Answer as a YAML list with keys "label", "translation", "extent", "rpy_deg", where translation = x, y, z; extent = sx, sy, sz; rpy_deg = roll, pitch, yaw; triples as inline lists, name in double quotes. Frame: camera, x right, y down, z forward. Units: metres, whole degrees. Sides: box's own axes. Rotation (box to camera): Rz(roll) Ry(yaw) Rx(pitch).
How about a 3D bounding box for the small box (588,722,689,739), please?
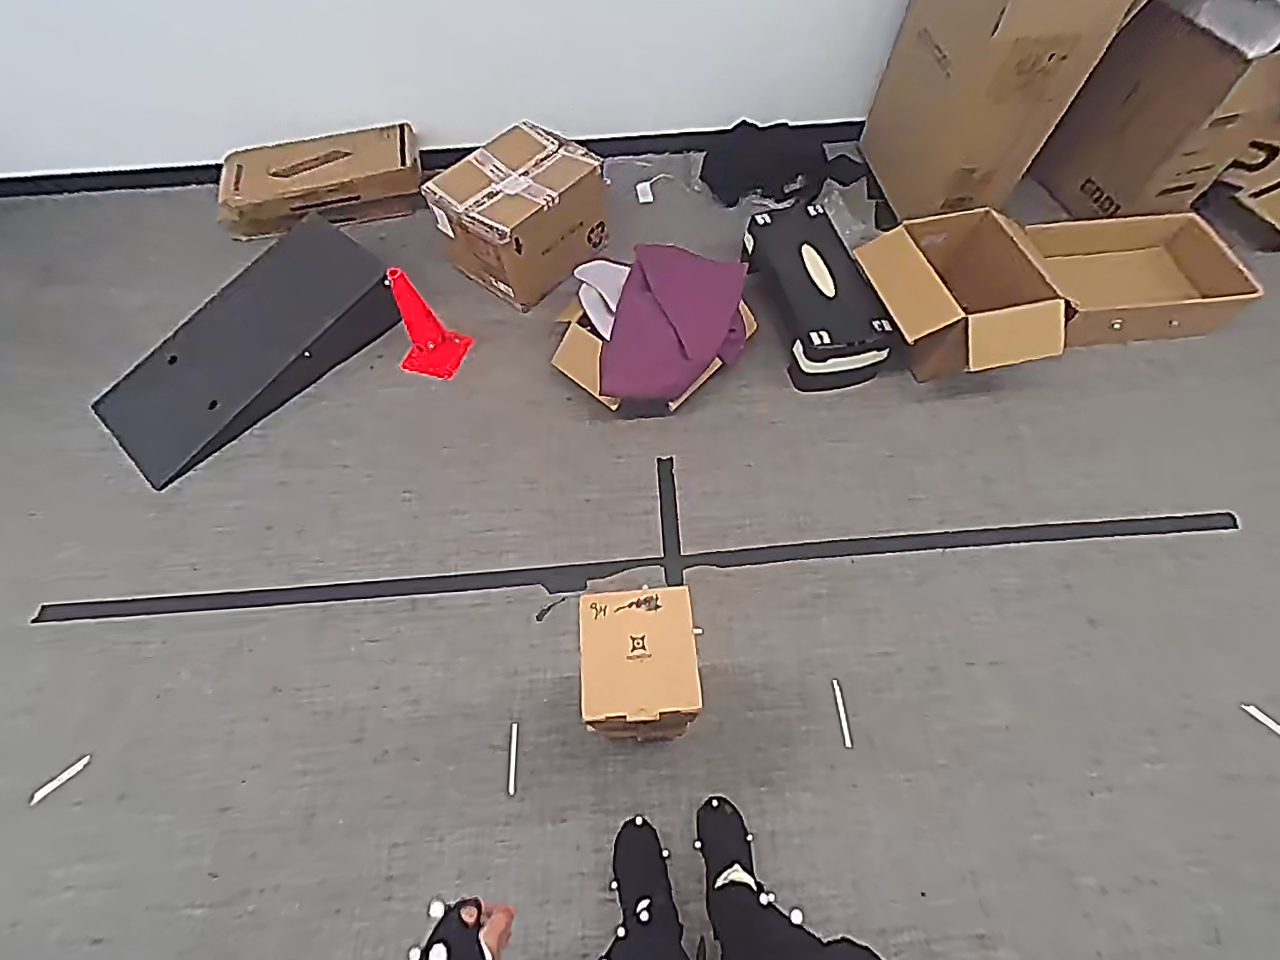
- label: "small box"
  translation: [0.000, 0.367, 0.974]
  extent: [0.168, 0.176, 0.179]
  rpy_deg: [-1, 63, 2]

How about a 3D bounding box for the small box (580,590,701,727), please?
- label: "small box"
  translation: [0.001, 0.281, 0.833]
  extent: [0.168, 0.176, 0.179]
  rpy_deg: [-4, 62, 0]
